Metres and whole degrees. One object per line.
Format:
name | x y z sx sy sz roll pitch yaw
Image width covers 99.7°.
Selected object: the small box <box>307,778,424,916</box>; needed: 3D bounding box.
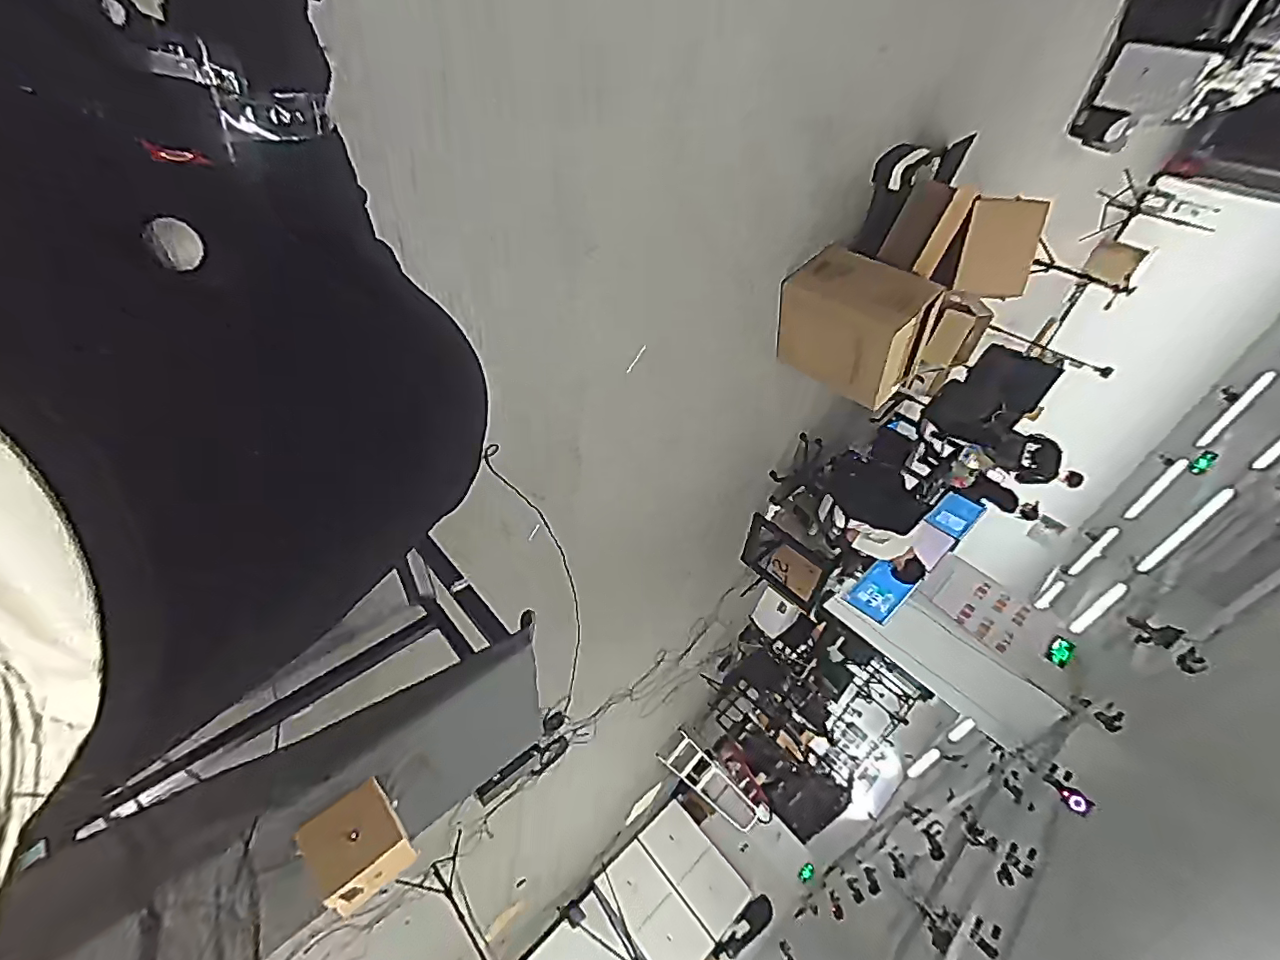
small box | -0.626 0.830 1.231 0.179 0.176 0.168 -31 144 -33
